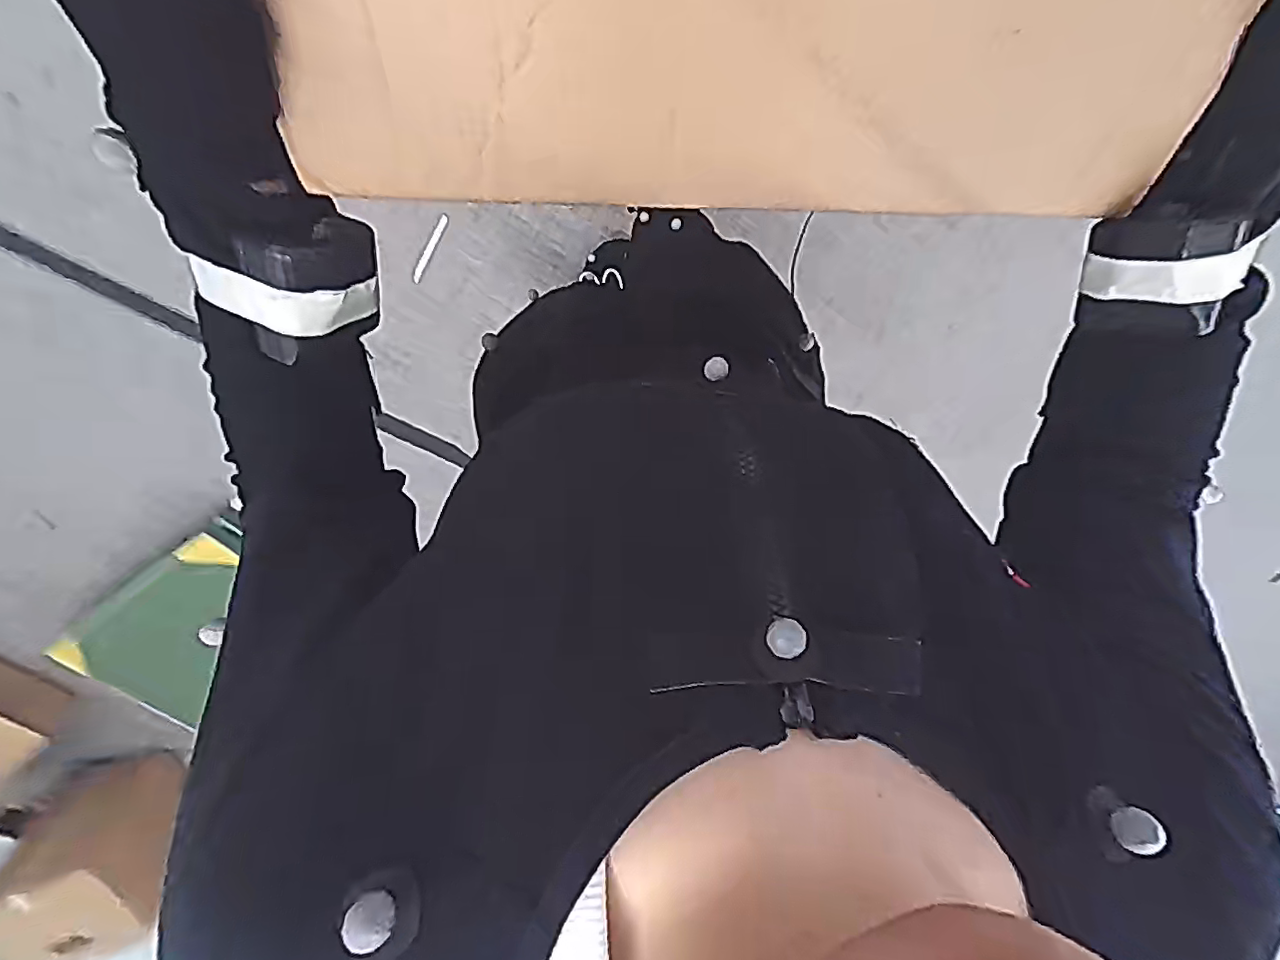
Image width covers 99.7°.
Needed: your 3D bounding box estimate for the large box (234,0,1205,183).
[{"bbox_3d":[0.036,-0.361,0.249,0.408,0.320,0.320,-2,138,-5],"label":"large box"}]
